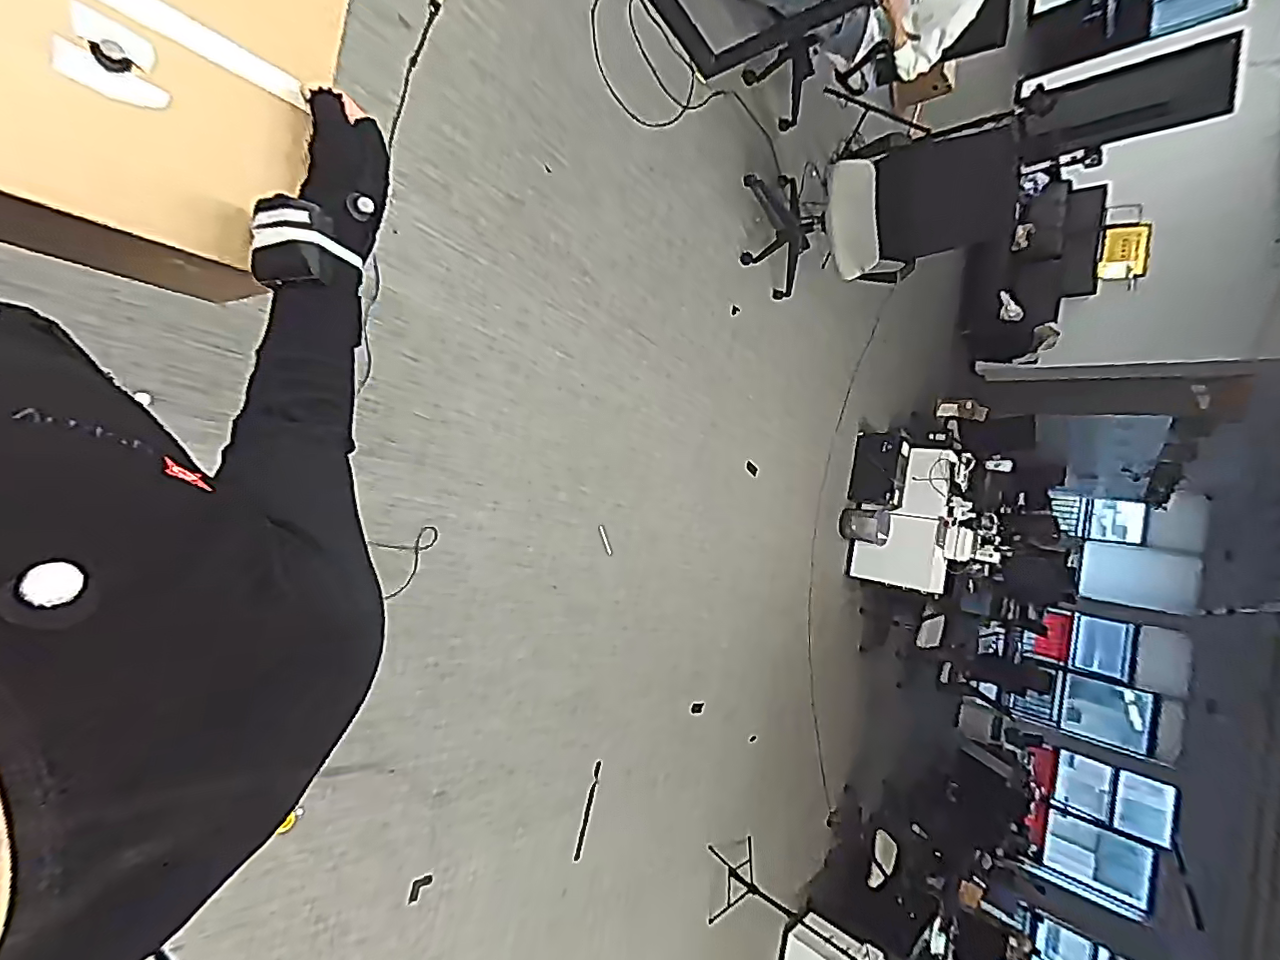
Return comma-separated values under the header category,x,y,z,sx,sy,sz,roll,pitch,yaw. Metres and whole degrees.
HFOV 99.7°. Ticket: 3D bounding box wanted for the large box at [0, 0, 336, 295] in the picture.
category,x,y,z,sx,sy,sz,roll,pitch,yaw
large box,-0.528,-0.374,0.432,0.408,0.320,0.320,8,94,-50
